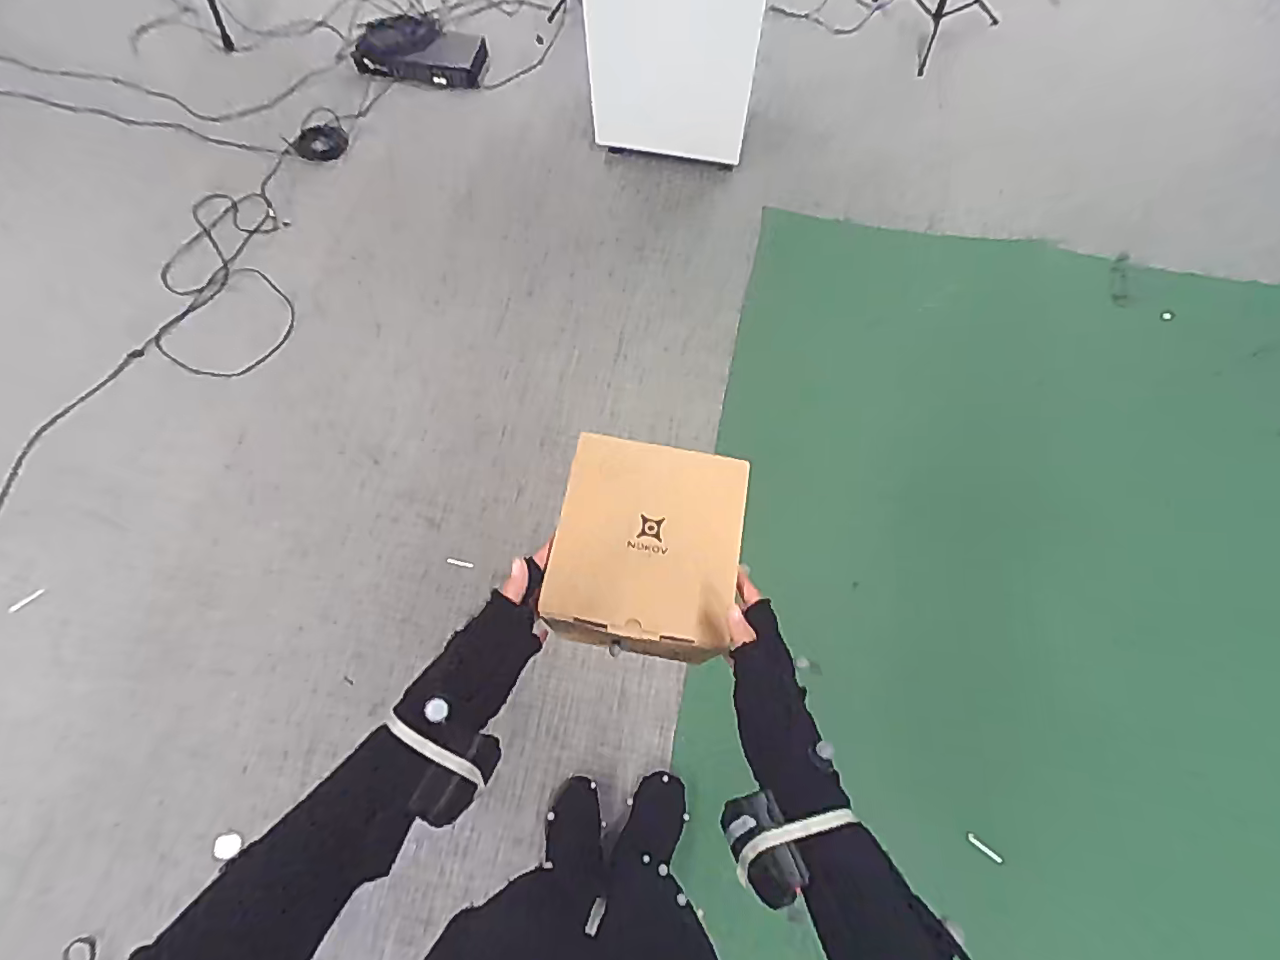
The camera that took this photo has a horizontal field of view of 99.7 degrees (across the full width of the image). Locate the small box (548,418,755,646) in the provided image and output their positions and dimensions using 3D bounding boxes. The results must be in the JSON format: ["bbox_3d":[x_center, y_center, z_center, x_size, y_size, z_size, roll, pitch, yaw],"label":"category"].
[{"bbox_3d":[0.011,0.063,0.554,0.168,0.176,0.179,10,69,1],"label":"small box"}]
